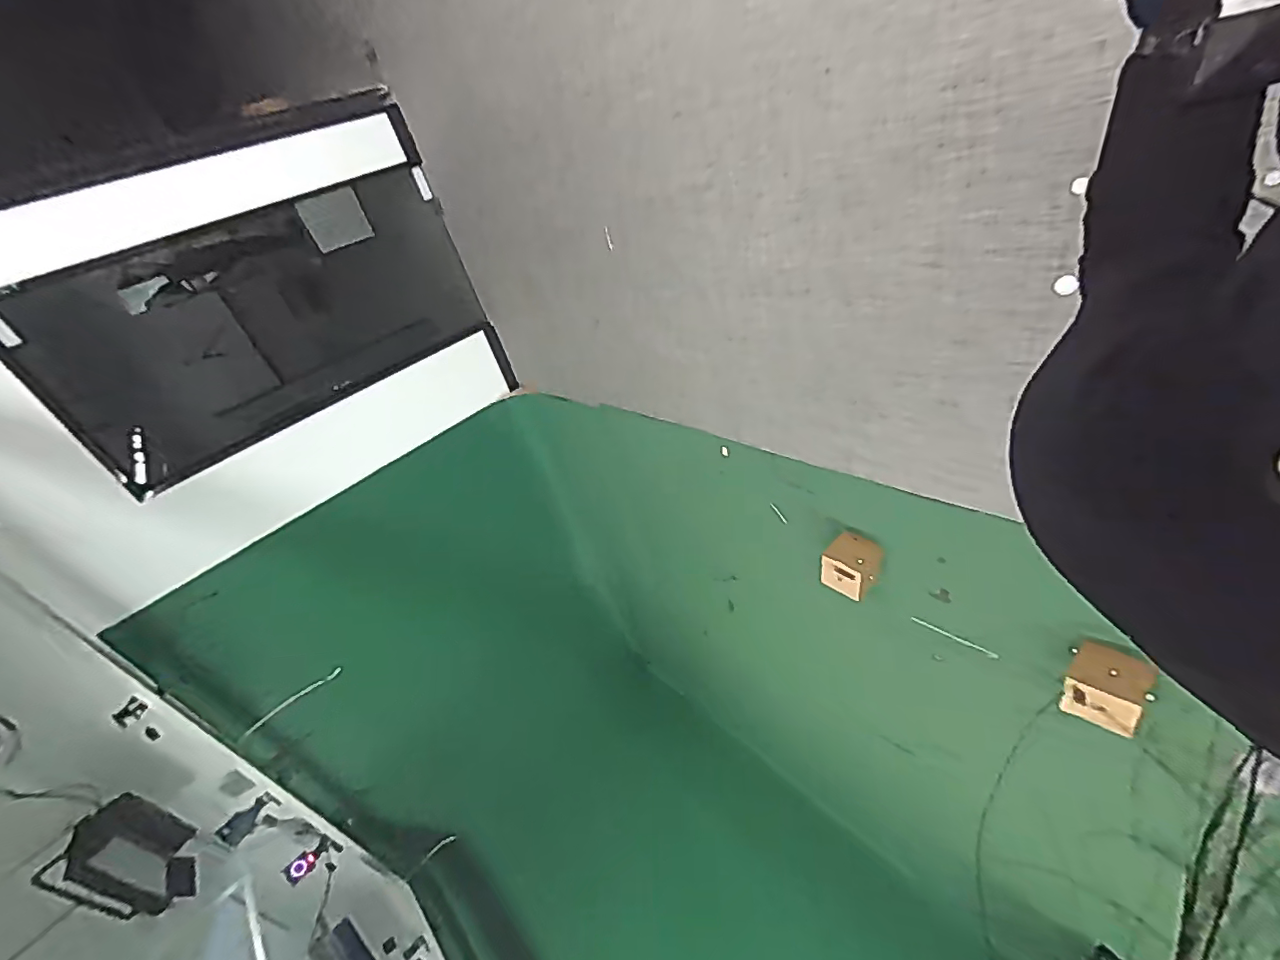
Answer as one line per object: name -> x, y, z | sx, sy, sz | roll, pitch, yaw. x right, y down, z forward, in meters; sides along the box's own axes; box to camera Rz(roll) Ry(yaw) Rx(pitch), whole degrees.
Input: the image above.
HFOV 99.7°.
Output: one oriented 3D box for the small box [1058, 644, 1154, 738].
small box -> 1.411, 0.628, 1.639 | 0.179, 0.176, 0.168 | 19, 138, 45
